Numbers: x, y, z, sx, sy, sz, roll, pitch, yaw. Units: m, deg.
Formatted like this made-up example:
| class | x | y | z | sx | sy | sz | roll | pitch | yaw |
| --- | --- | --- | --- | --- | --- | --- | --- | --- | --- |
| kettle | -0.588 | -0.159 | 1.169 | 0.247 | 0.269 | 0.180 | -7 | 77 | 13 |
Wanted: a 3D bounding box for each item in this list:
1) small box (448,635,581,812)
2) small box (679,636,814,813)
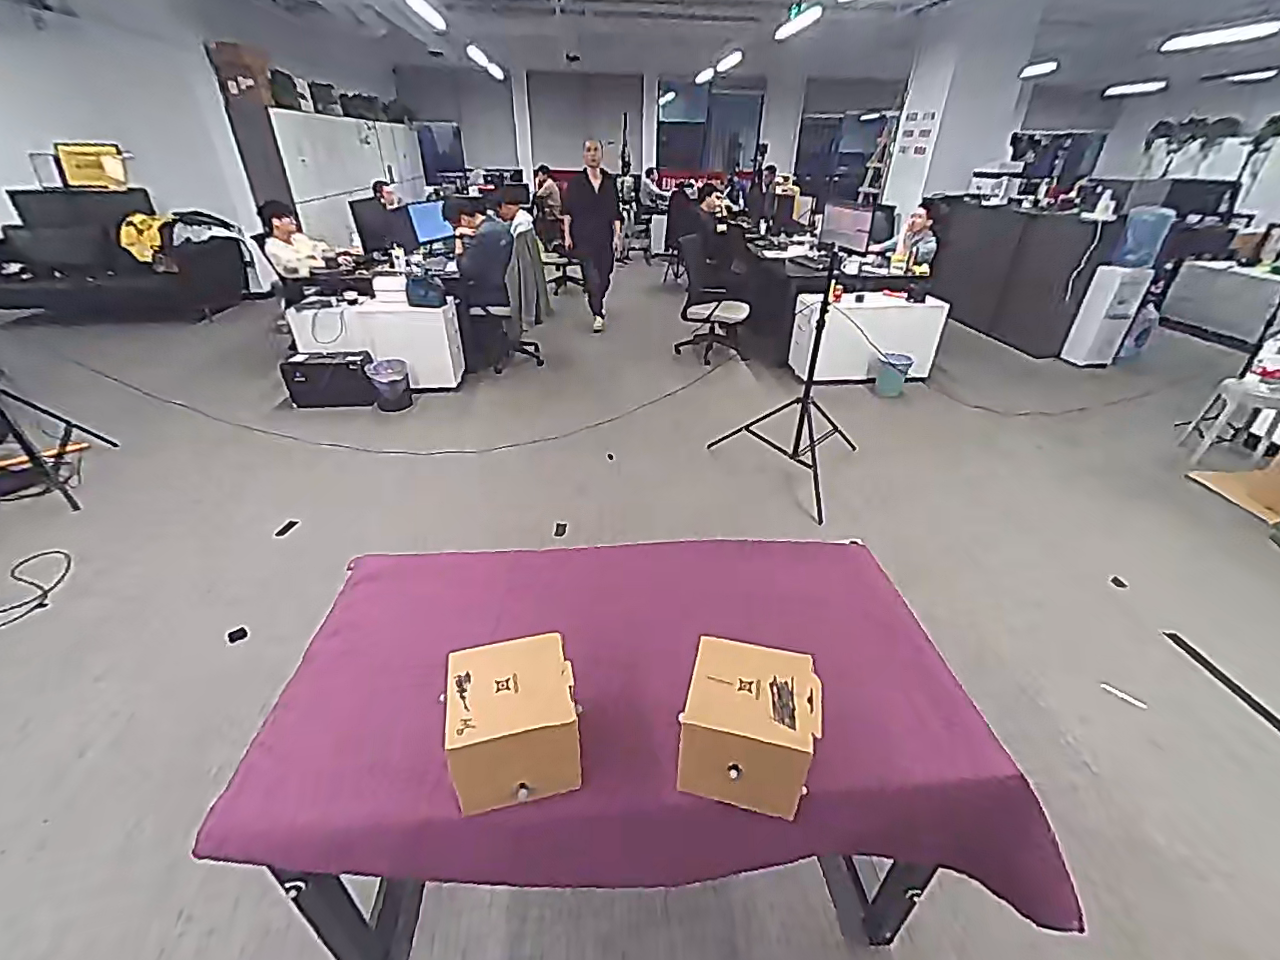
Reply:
| class | x | y | z | sx | sy | sz | roll | pitch | yaw |
| --- | --- | --- | --- | --- | --- | --- | --- | --- | --- |
| small box | -0.188 | 0.369 | 0.829 | 0.179 | 0.176 | 0.168 | -7 | 31 | -13 |
| small box | 0.162 | 0.373 | 0.829 | 0.179 | 0.176 | 0.168 | 8 | 31 | 13 |
